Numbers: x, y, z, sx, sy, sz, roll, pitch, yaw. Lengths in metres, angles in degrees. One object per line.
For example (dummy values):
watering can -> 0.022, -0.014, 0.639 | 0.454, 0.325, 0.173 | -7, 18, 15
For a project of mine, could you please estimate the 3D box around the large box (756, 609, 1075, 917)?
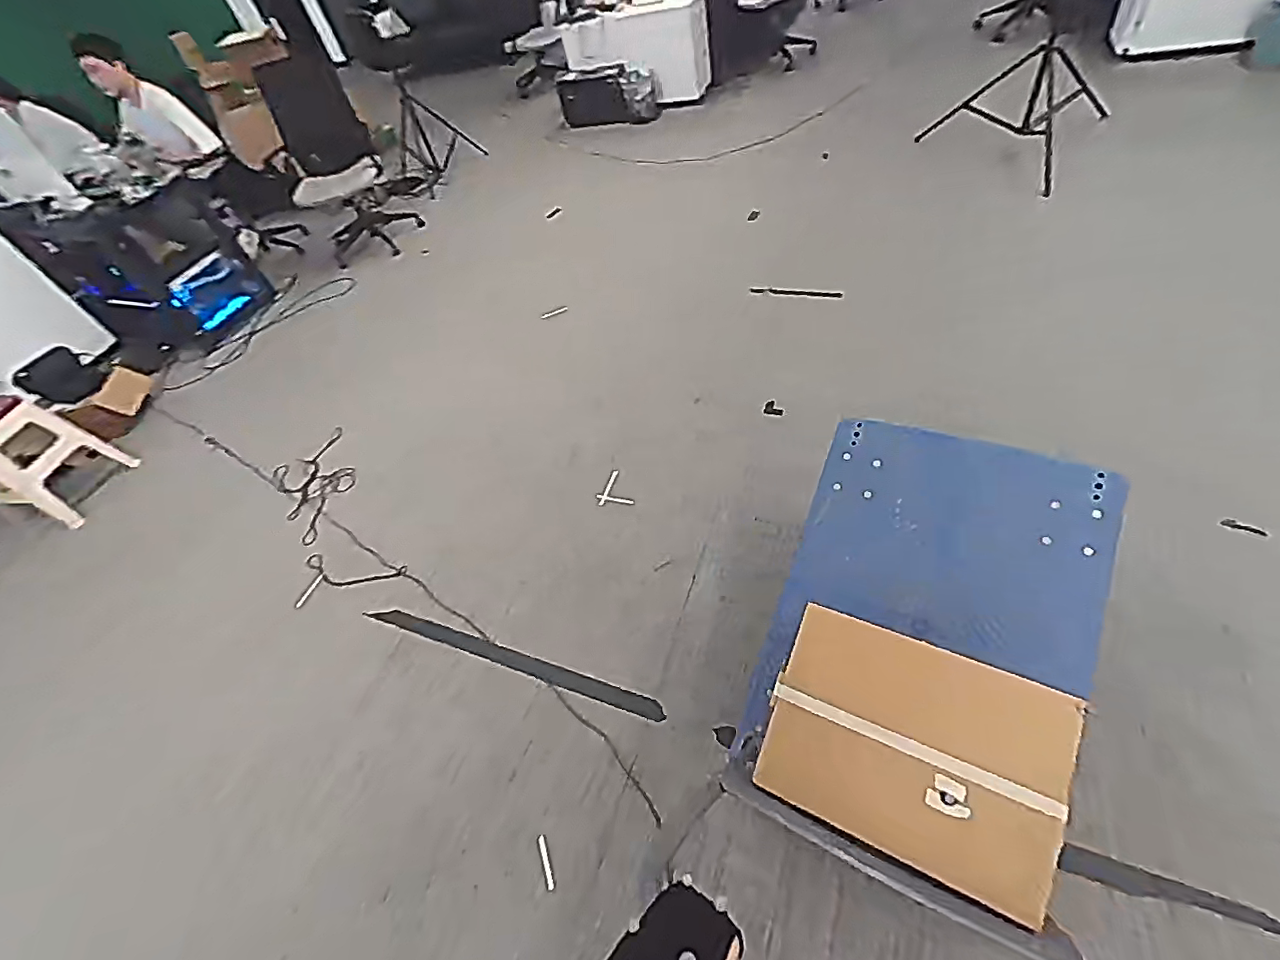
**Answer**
large box -> 0.464, 0.462, 0.980 | 0.408, 0.320, 0.320 | 17, 78, 25
